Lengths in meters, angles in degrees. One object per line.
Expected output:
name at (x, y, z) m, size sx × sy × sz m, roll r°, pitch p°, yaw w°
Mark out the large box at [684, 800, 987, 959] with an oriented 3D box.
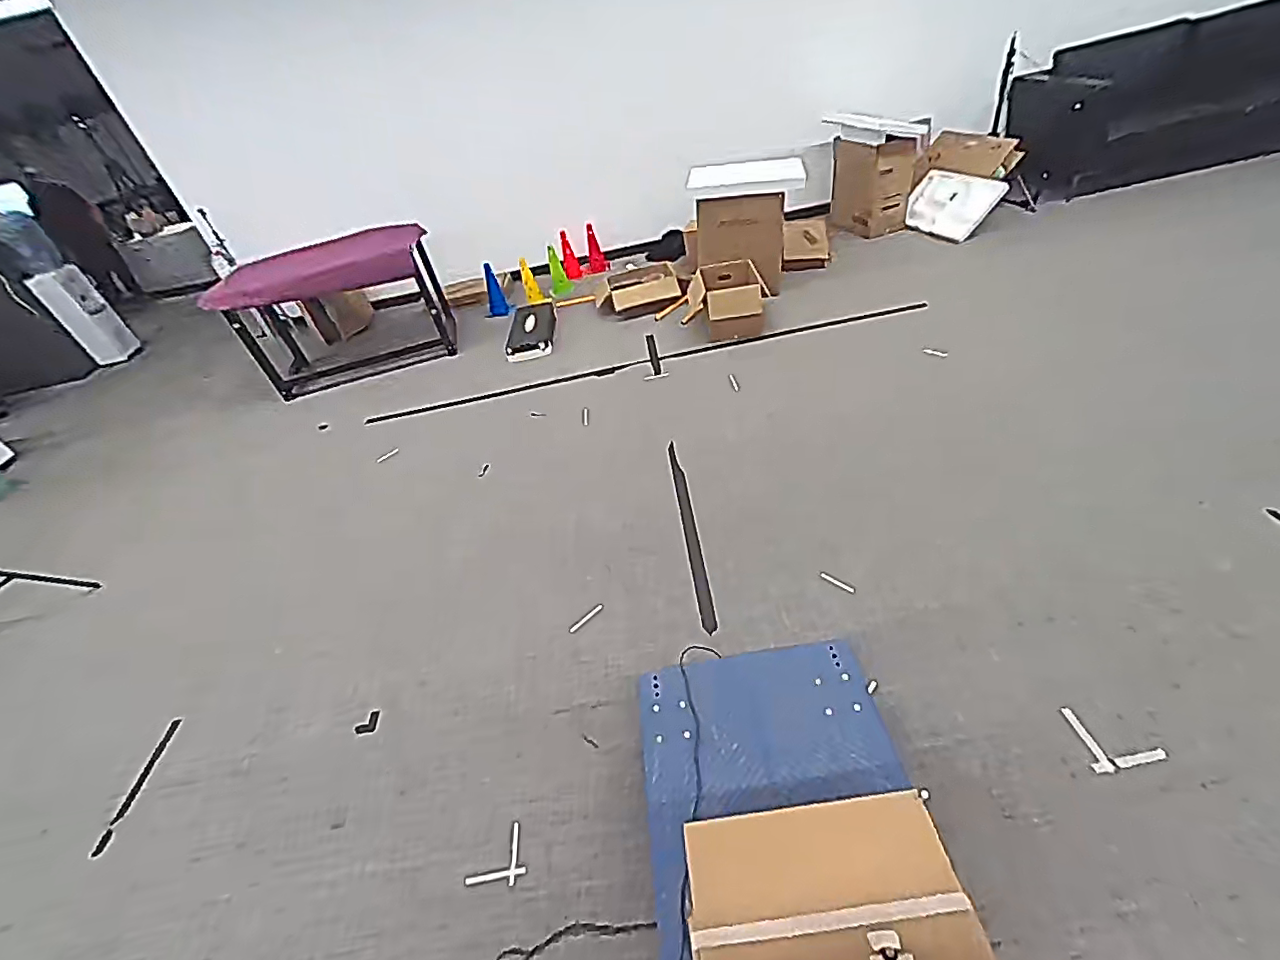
large box at (0.303, 0.779, 0.886) m, size 0.408 × 0.320 × 0.320 m, roll -10°, pitch 40°, yaw 2°
